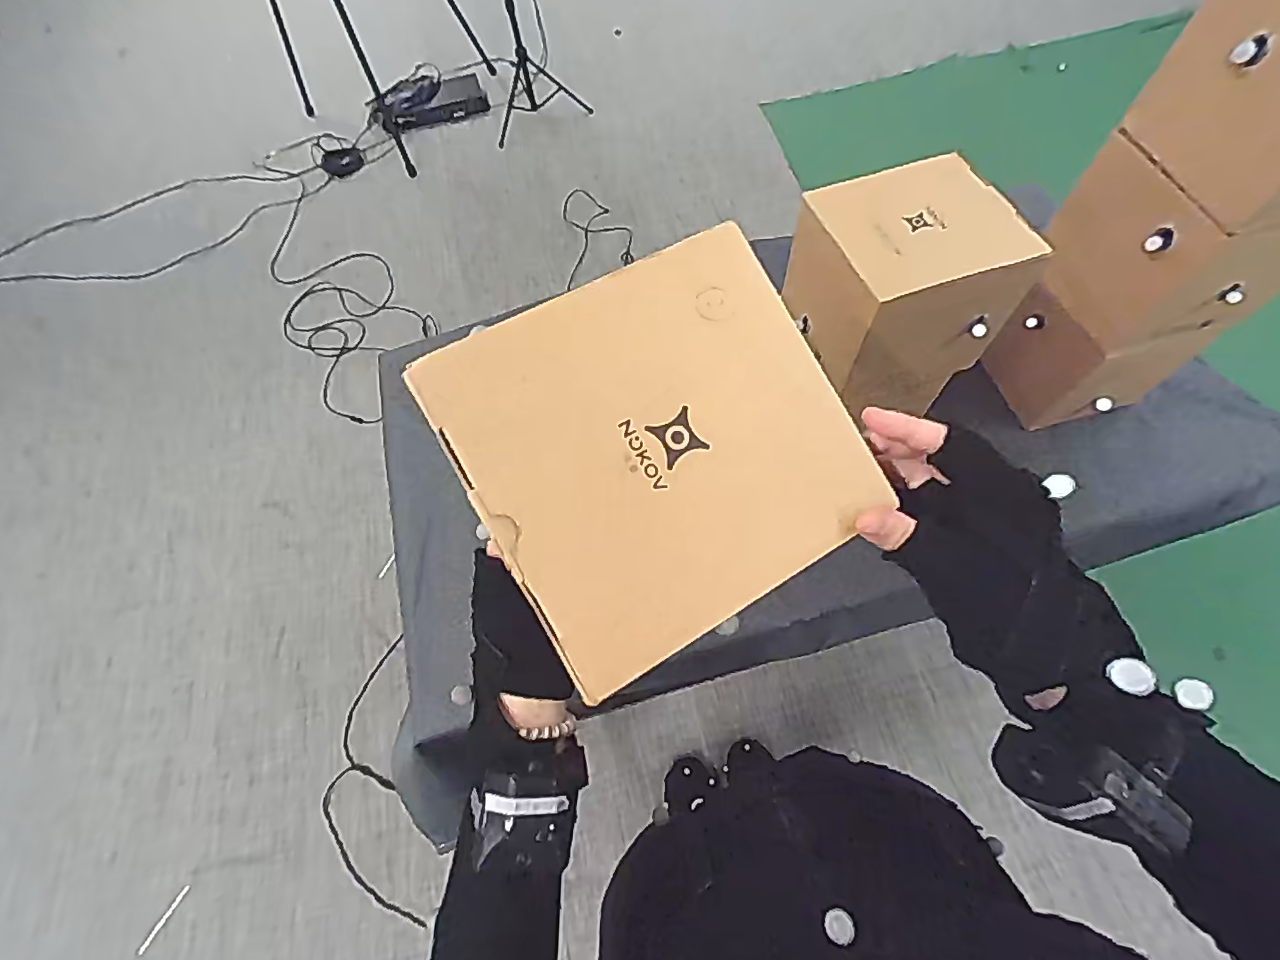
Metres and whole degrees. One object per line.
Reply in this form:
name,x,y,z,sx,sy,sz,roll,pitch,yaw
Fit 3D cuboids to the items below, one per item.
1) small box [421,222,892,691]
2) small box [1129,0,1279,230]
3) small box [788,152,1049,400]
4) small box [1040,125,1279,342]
small box,0.000,-0.011,0.328,0.179,0.176,0.168,-30,90,-12
small box,0.581,-0.345,0.451,0.168,0.176,0.179,-11,63,0
small box,0.280,-0.216,0.598,0.179,0.176,0.168,-17,63,-3
small box,0.595,-0.274,0.598,0.168,0.176,0.179,-13,63,-1
